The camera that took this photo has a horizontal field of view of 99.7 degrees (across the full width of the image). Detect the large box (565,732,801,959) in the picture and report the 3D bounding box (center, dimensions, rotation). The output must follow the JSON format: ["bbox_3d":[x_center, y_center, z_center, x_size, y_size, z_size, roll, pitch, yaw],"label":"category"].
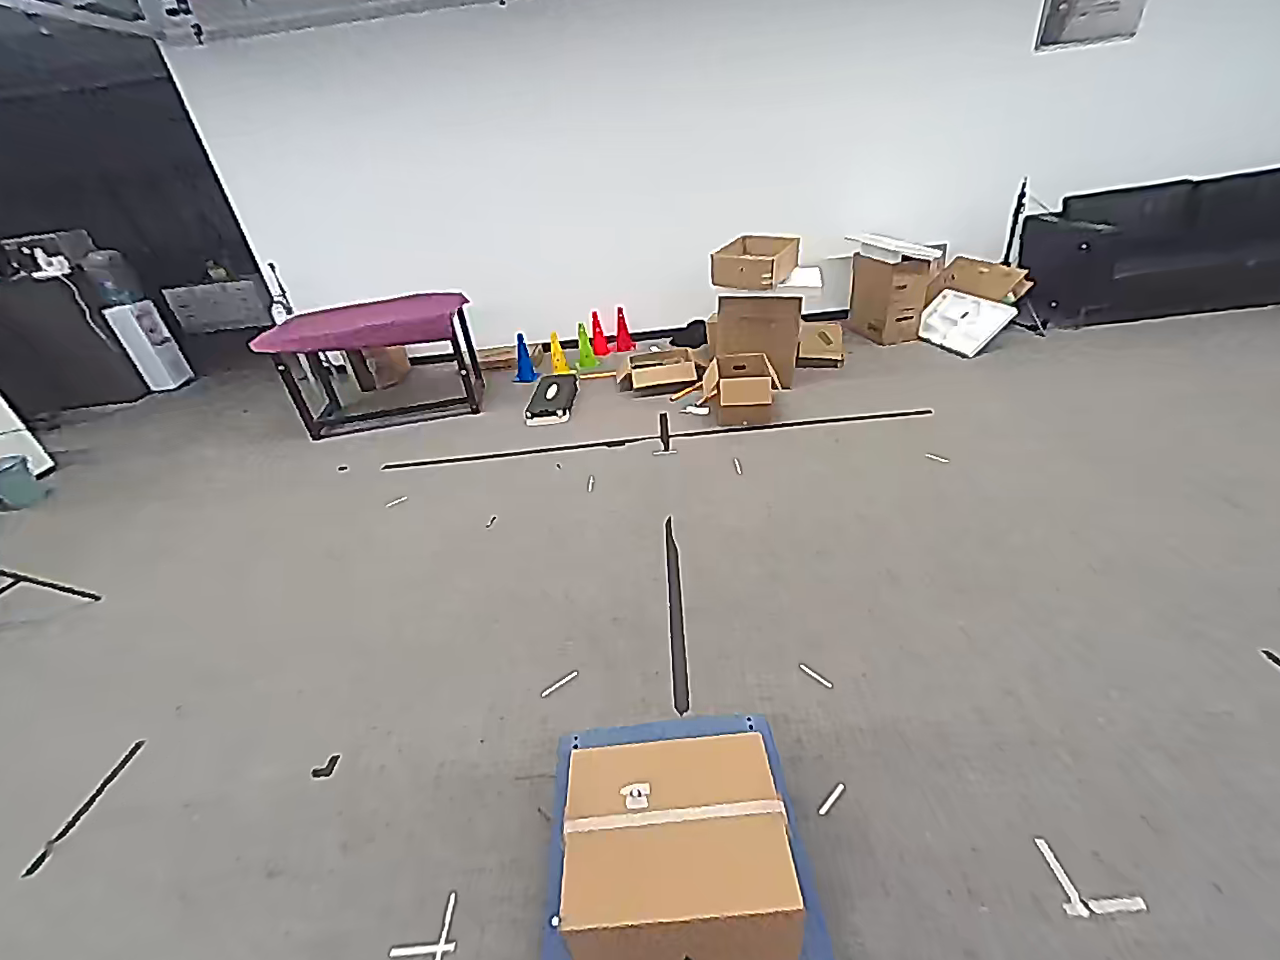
[{"bbox_3d":[0.081,0.768,1.102,0.408,0.320,0.320,-8,31,1],"label":"large box"}]
